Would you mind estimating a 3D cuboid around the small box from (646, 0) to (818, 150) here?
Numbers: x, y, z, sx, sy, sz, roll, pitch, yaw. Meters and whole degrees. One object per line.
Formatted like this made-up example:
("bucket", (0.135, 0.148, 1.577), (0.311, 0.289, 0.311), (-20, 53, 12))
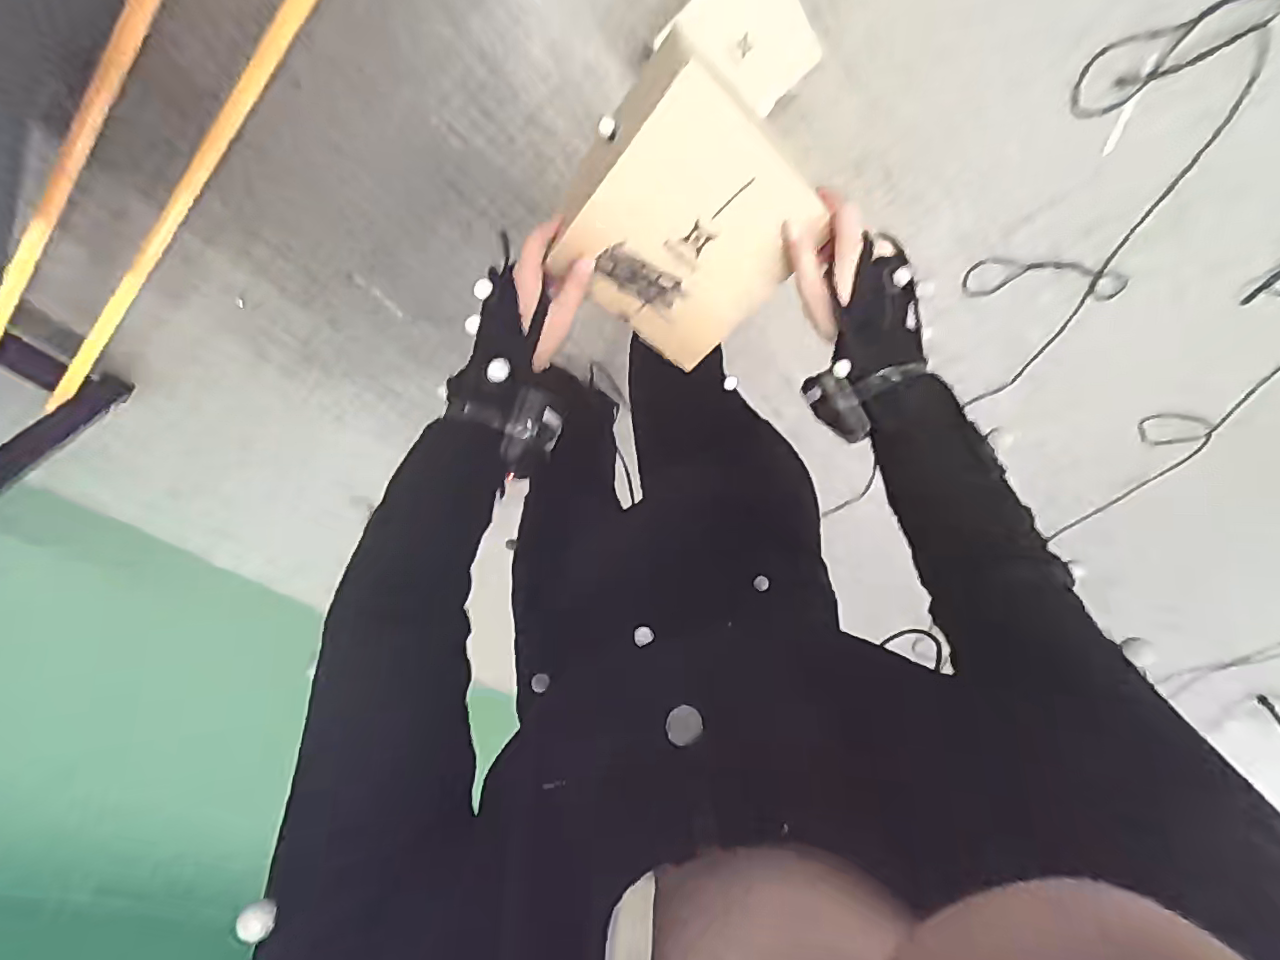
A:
("small box", (0.124, -0.631, 0.795), (0.179, 0.176, 0.168), (-35, 122, 21))
